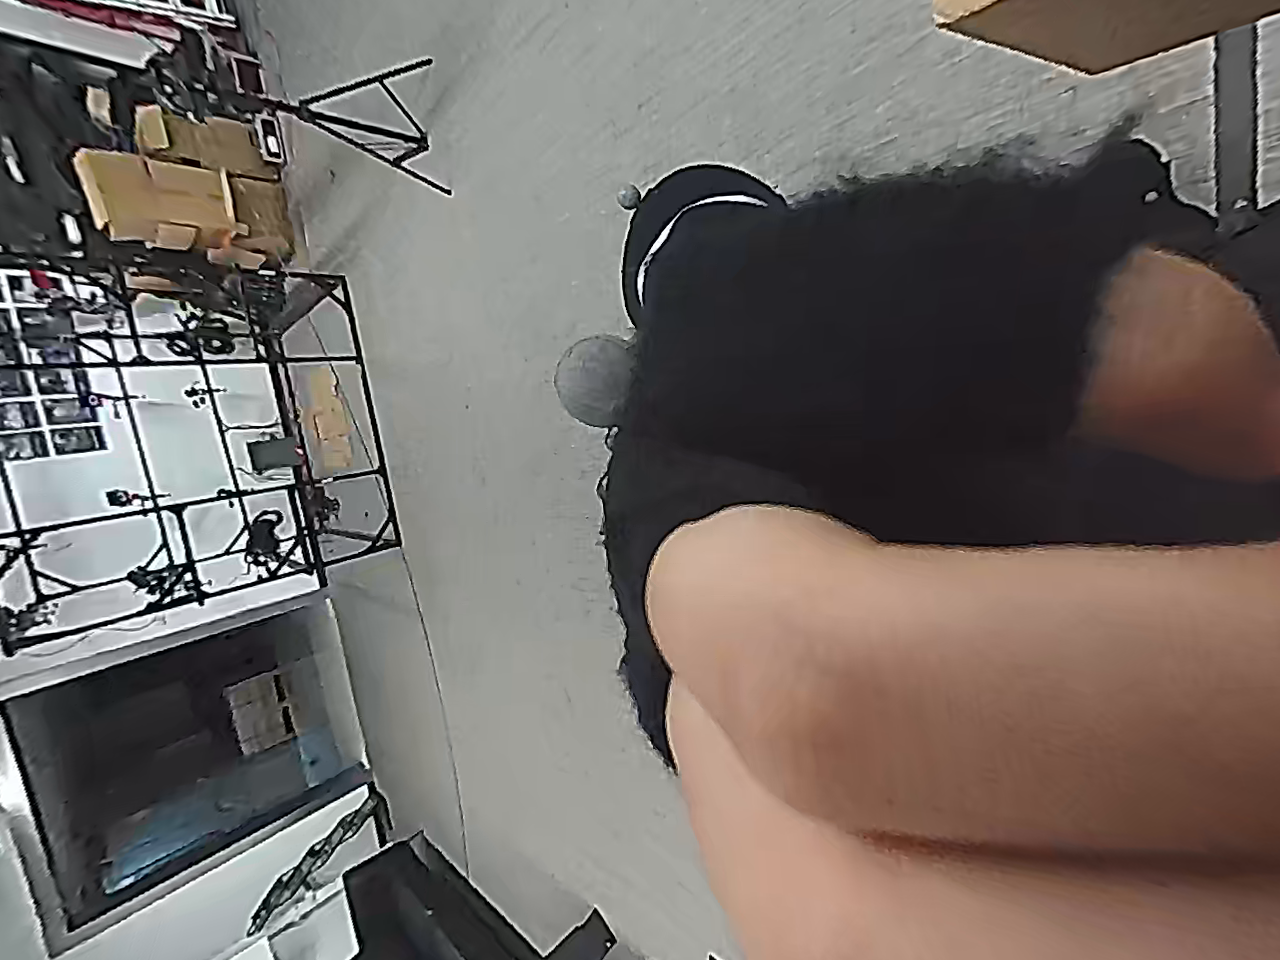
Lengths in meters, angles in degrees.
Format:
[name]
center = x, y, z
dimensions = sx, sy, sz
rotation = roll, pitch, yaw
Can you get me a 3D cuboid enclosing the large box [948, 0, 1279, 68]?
[large box]
center = 0.429, -0.486, 0.267
dimensions = 0.408, 0.320, 0.320
rotation = 14, 119, 52
